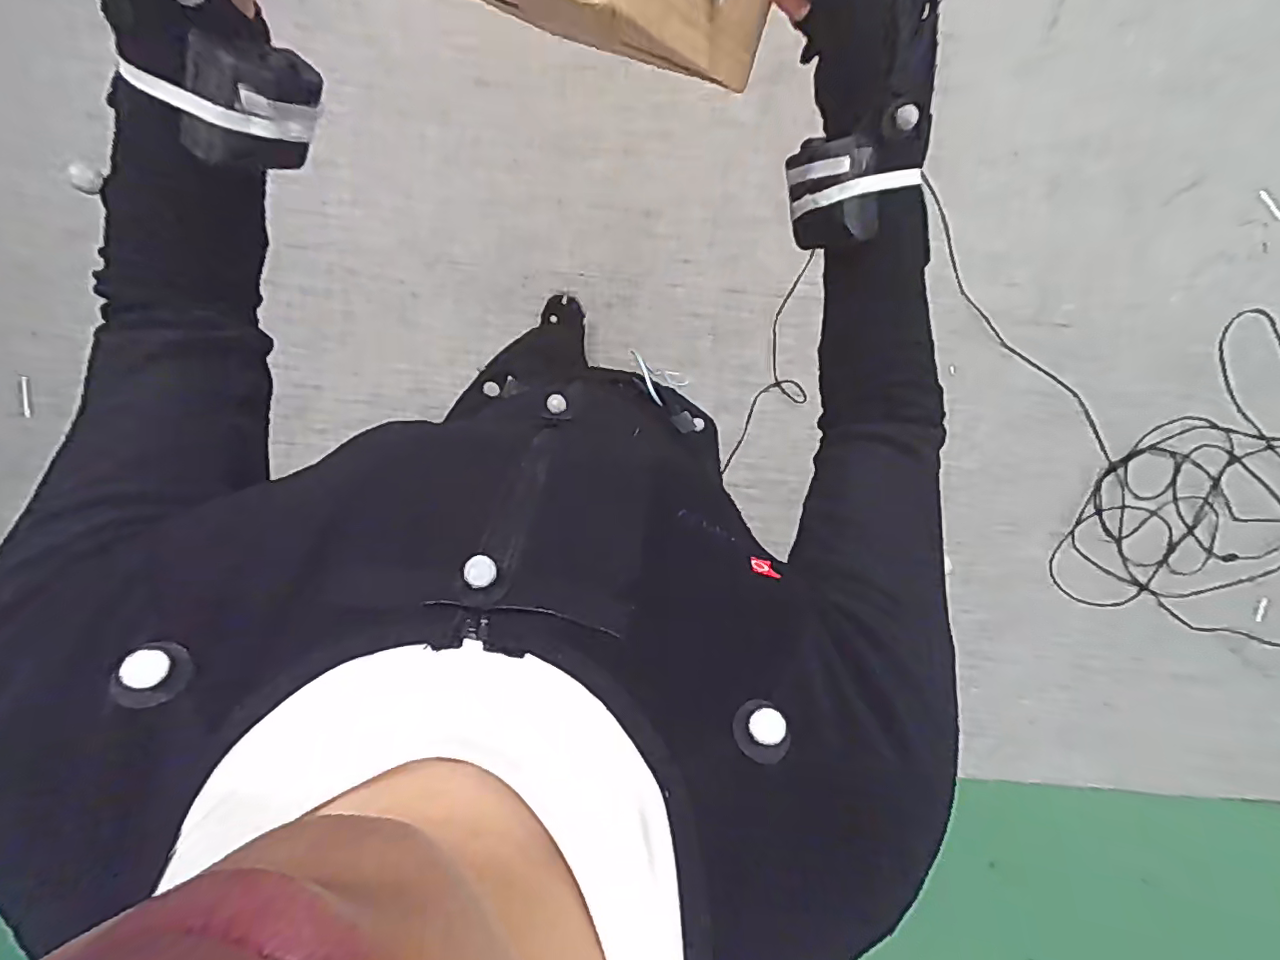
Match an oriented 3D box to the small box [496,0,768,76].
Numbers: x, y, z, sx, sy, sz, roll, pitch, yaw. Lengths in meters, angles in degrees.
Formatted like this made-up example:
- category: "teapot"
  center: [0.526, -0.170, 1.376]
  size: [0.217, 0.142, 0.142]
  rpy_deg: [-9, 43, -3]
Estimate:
- category: "small box"
  center: [-0.013, -0.338, 0.280]
  size: [0.168, 0.179, 0.176]
  rpy_deg: [29, 122, 18]
